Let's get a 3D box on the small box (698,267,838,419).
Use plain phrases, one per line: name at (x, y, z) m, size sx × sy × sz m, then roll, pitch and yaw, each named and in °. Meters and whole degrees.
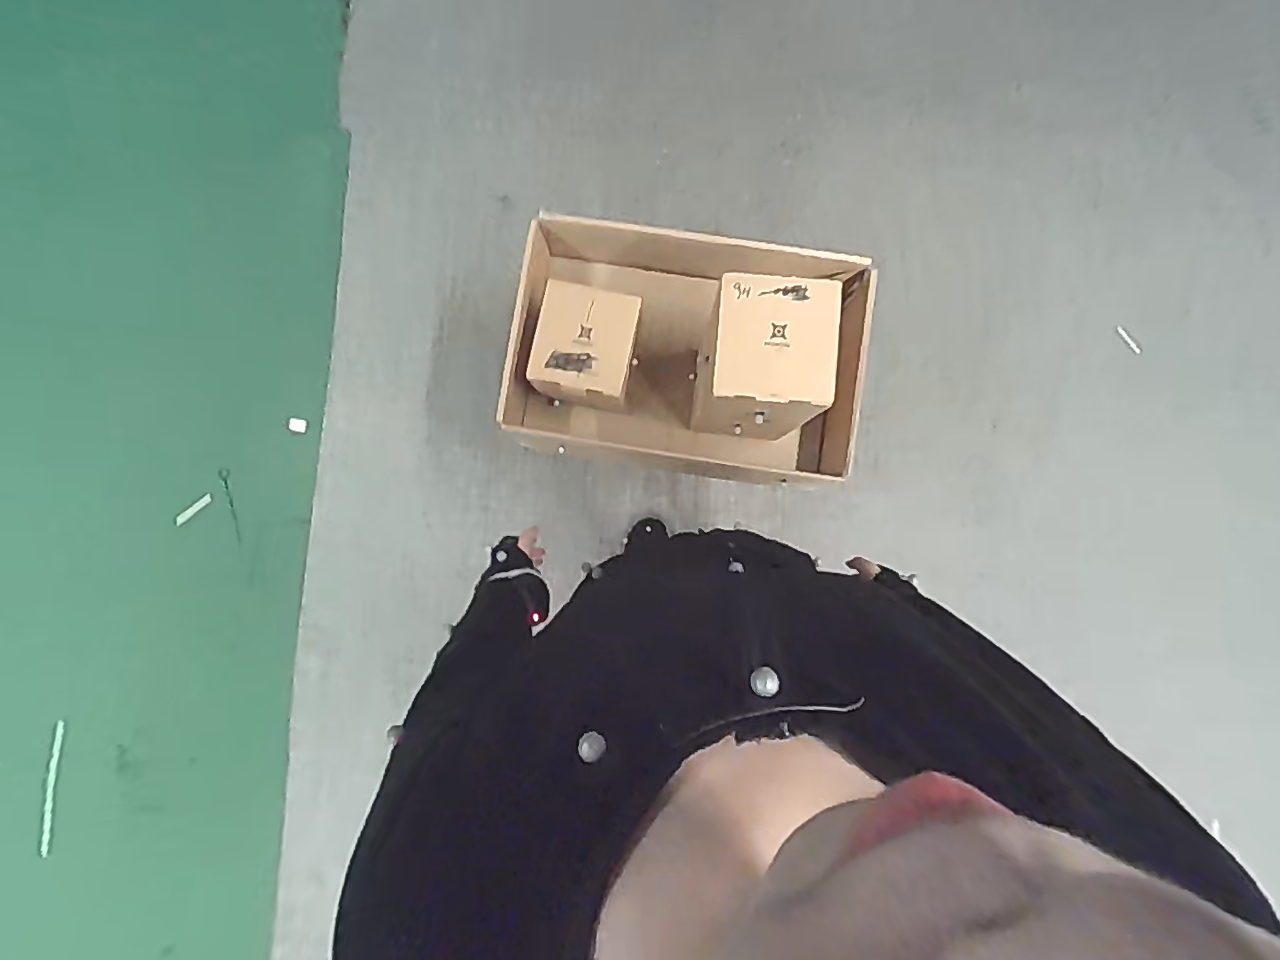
small box at (0.182, -0.195, 0.817) m, size 0.168 × 0.176 × 0.179 m, roll 6°, pitch 87°, yaw 1°
